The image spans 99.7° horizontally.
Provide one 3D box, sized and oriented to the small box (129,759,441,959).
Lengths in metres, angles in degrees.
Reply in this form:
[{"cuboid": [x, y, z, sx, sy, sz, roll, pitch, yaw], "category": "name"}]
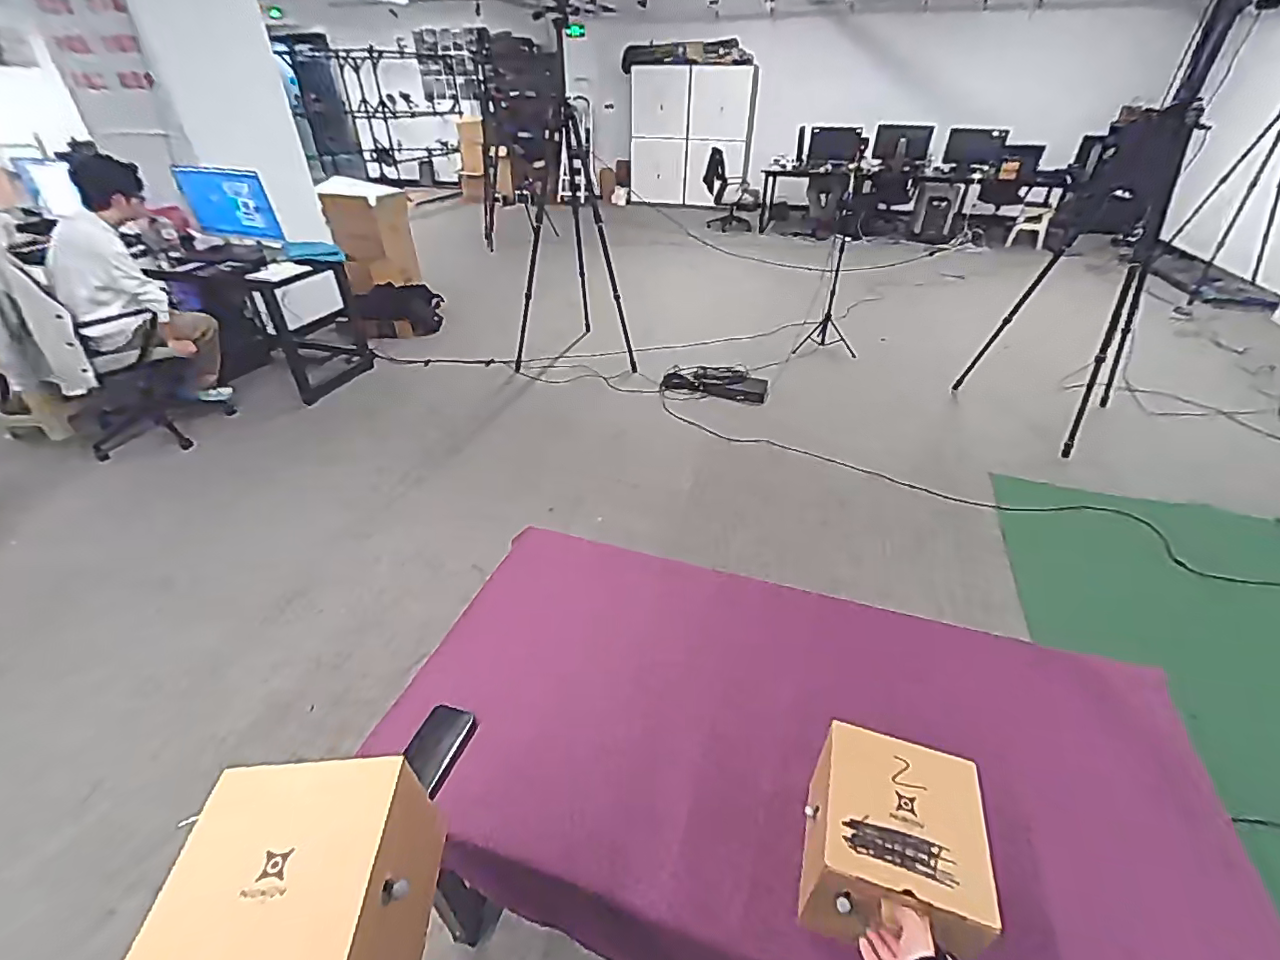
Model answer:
[{"cuboid": [-0.290, 0.378, 0.482, 0.168, 0.176, 0.179, -2, 39, -2], "category": "small box"}]
